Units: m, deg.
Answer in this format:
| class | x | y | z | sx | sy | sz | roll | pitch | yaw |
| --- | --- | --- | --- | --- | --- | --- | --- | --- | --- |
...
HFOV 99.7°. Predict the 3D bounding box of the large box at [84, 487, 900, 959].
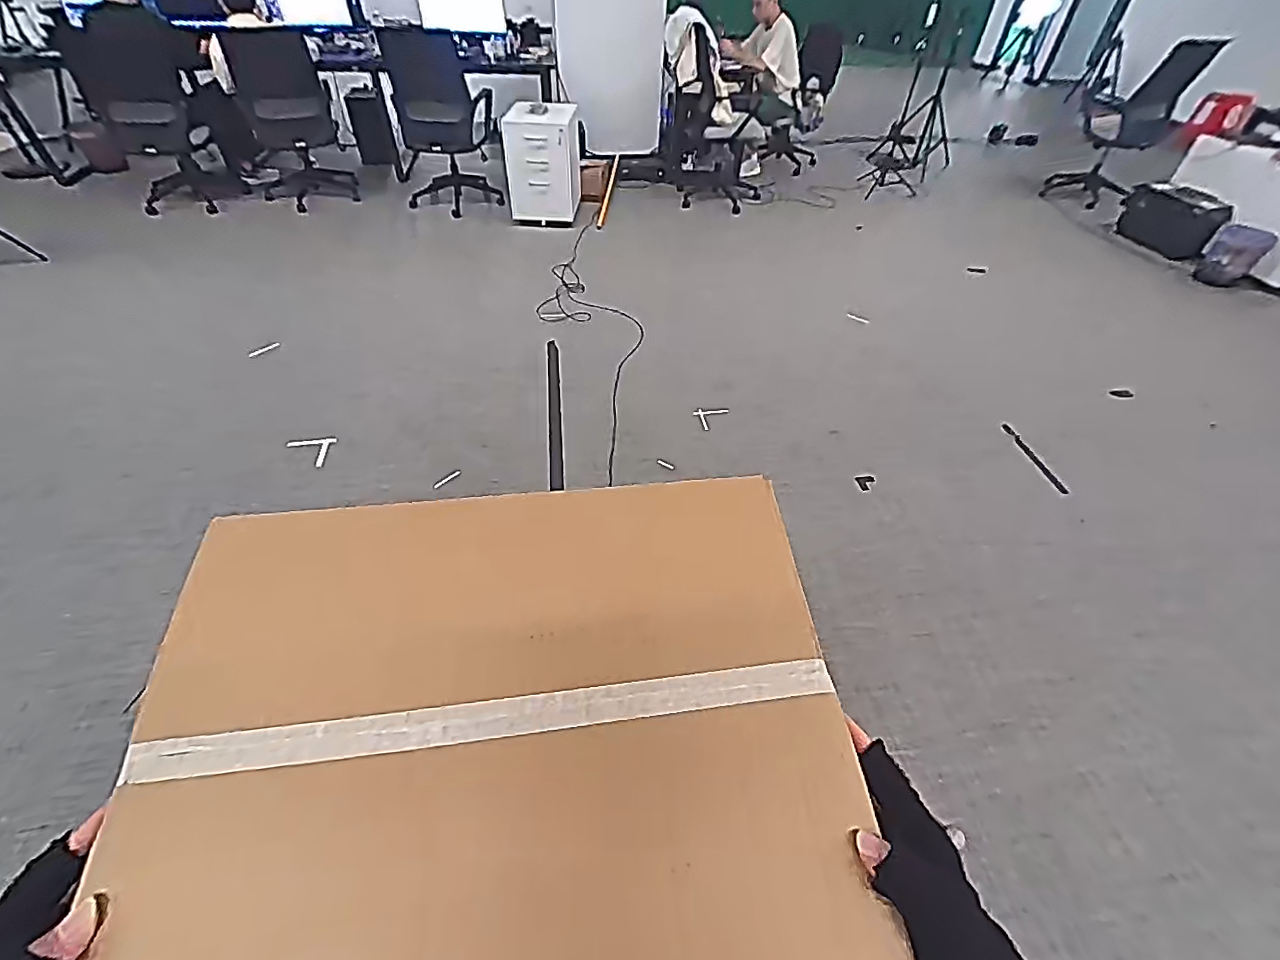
| class | x | y | z | sx | sy | sz | roll | pitch | yaw |
| --- | --- | --- | --- | --- | --- | --- | --- | --- | --- |
| large box | -0.087 | 0.232 | 0.450 | 0.408 | 0.320 | 0.320 | -5 | 56 | -6 |
